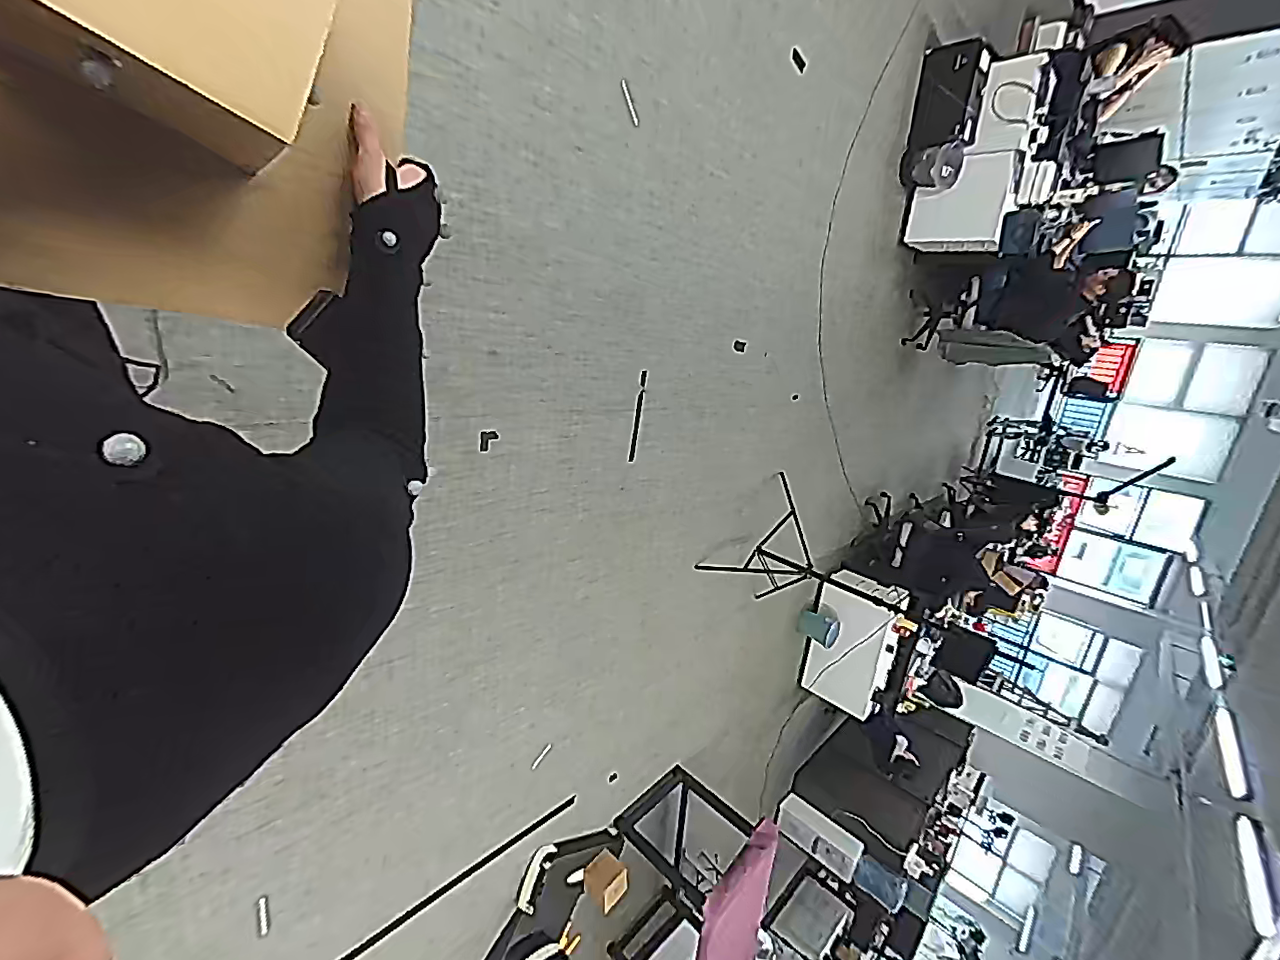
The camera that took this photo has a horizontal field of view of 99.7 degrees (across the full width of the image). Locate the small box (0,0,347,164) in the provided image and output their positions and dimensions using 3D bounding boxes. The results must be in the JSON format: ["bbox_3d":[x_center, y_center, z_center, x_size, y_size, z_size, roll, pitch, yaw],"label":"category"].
[{"bbox_3d":[-0.322,-0.345,0.369,0.179,0.176,0.168,17,95,-44],"label":"small box"}]
